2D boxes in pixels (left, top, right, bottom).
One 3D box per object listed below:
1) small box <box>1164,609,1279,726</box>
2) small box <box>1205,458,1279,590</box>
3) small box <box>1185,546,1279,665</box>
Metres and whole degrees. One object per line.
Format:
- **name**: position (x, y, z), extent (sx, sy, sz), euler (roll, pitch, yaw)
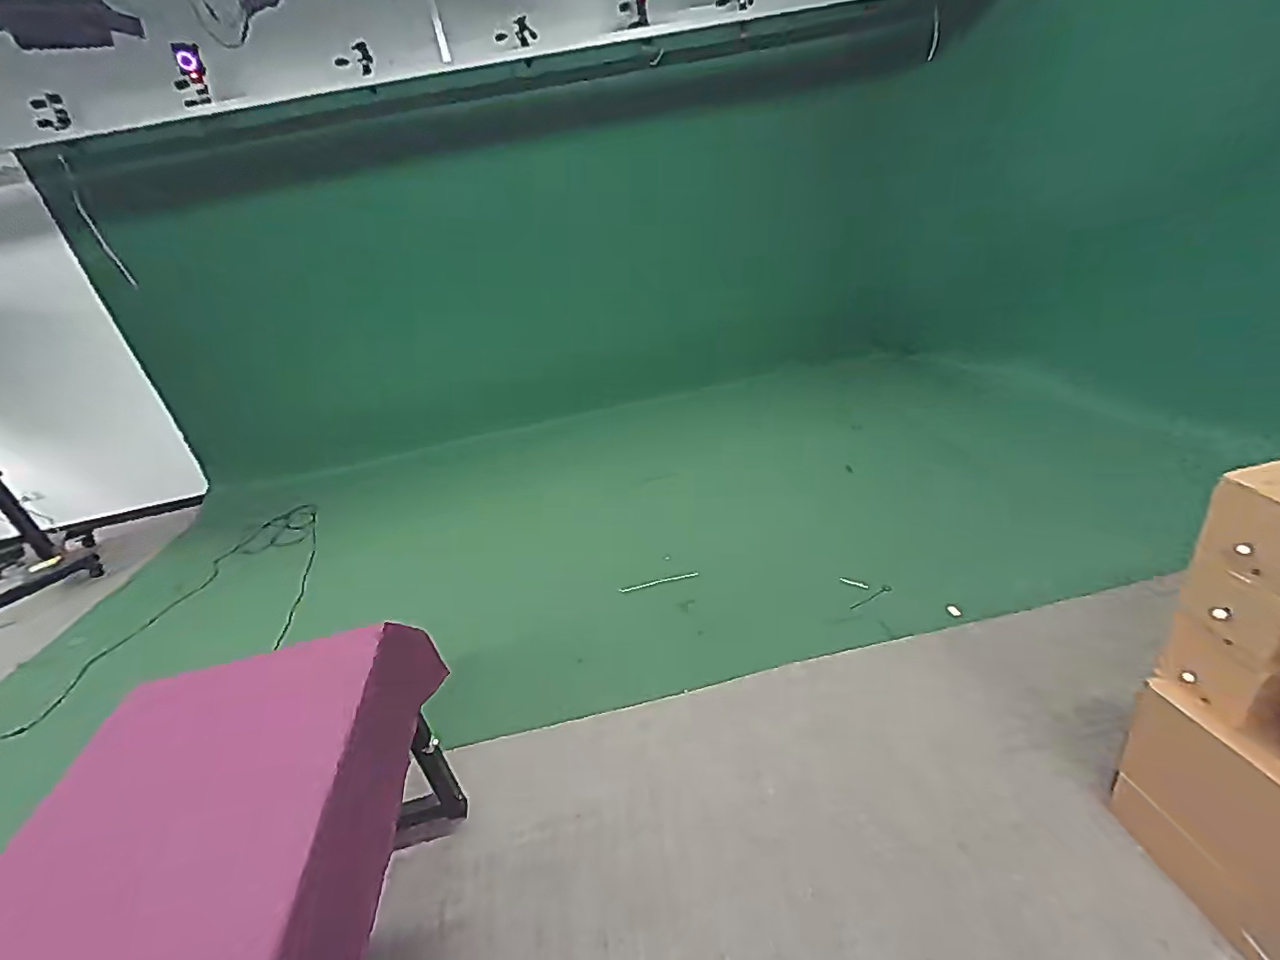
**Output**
- **small box**: position (1.223, 0.360, 1.088), extent (0.179, 0.176, 0.168), euler (-14, 28, -2)
- **small box**: position (1.158, 0.073, 0.939), extent (0.179, 0.176, 0.168), euler (-13, 27, -1)
- **small box**: position (1.187, 0.219, 1.013), extent (0.179, 0.176, 0.168), euler (-14, 28, -1)
